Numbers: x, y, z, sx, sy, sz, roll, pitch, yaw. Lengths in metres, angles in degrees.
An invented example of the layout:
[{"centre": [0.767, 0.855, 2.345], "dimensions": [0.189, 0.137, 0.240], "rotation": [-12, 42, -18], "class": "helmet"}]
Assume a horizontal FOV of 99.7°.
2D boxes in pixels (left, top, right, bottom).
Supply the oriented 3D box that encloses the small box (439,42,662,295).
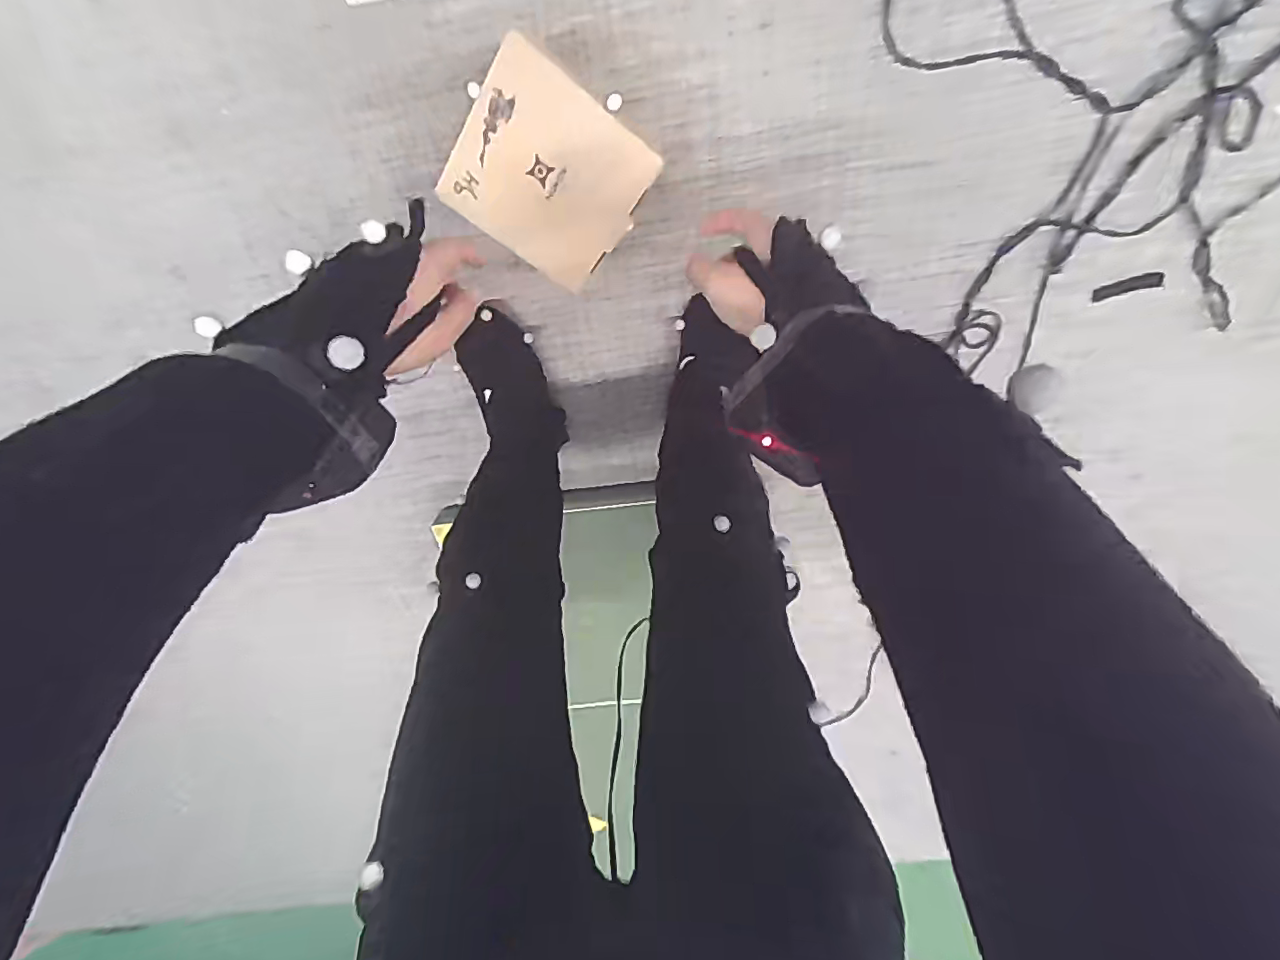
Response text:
[{"centre": [-0.093, -0.352, 0.618], "dimensions": [0.179, 0.176, 0.168], "rotation": [31, 119, -21], "class": "small box"}]
